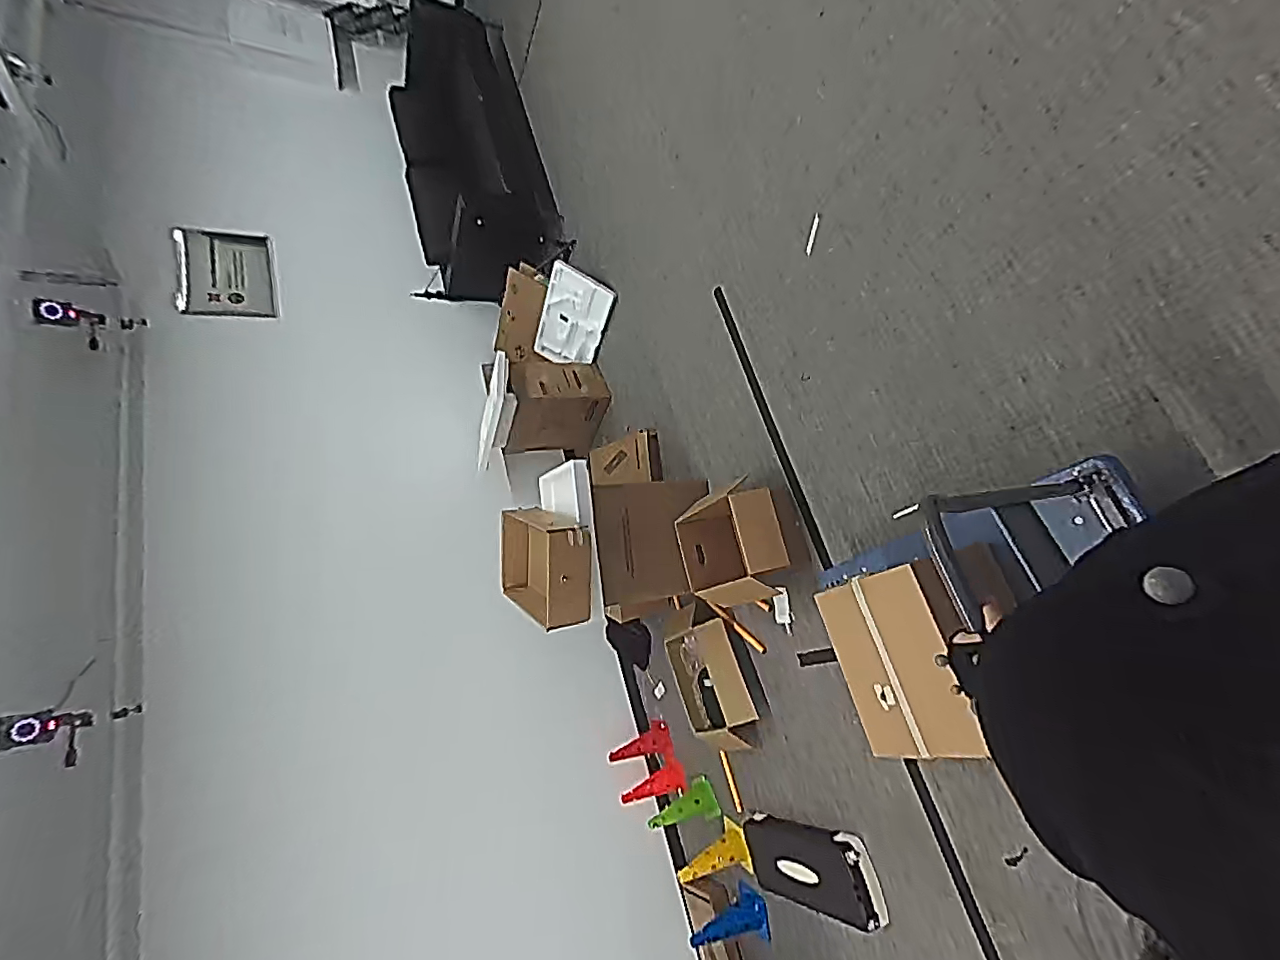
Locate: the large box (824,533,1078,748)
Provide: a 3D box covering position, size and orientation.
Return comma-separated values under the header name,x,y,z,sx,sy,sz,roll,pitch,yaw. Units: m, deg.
name,x,y,z,sx,sy,sz,roll,pitch,yaw
large box,0.727,0.382,1.303,0.320,0.320,0.408,-46,57,56
